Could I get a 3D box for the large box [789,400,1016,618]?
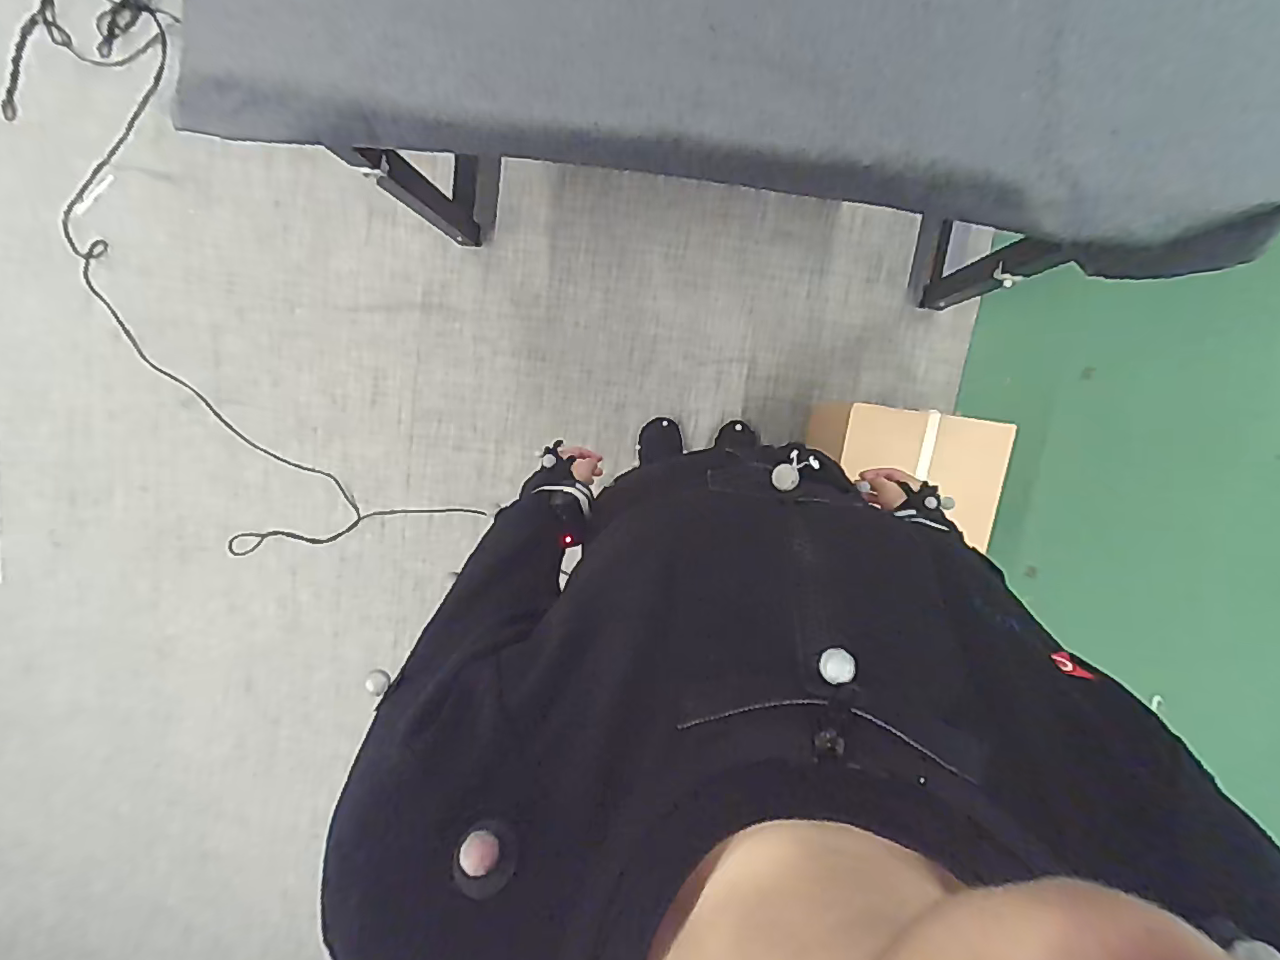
[{"bbox_3d":[0.541,0.039,1.193,0.320,0.320,0.408,8,99,3],"label":"large box"}]
